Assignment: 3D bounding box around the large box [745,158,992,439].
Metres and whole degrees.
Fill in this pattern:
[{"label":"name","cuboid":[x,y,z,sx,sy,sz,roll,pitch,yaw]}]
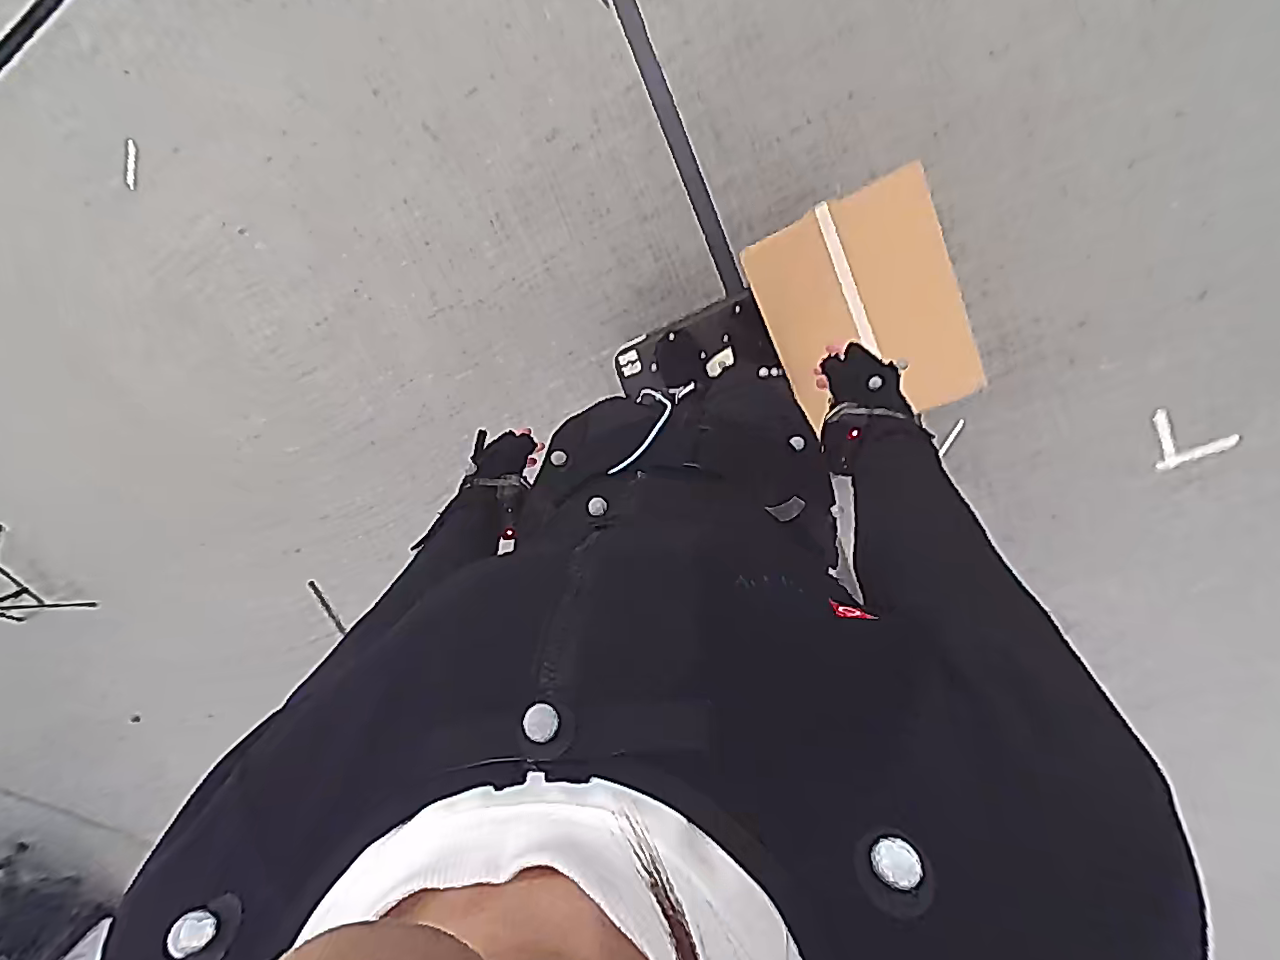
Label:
[{"label":"large box","cuboid":[0.446,-0.358,1.099,0.320,0.320,0.408,-20,107,25]}]
